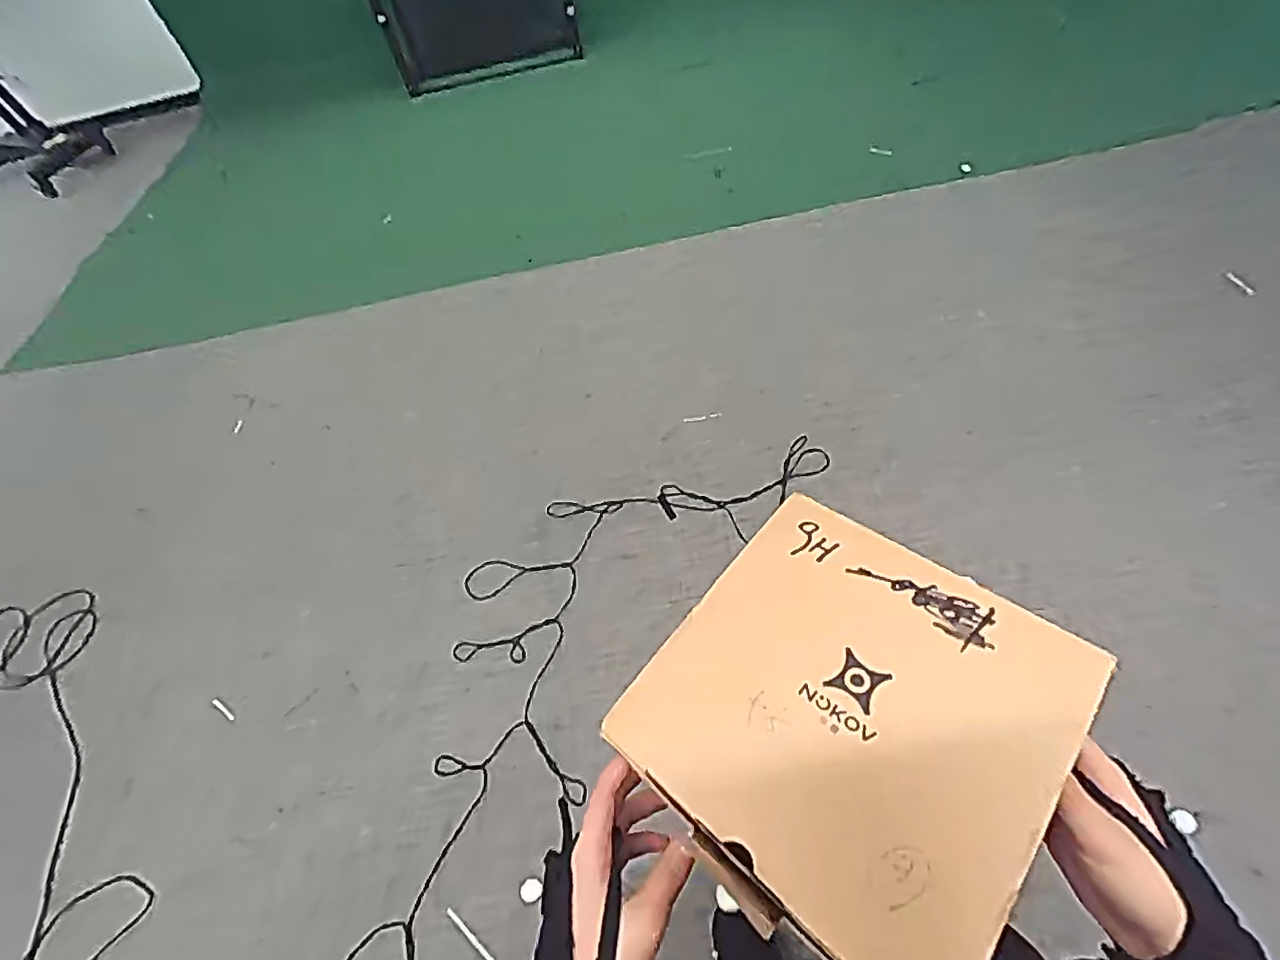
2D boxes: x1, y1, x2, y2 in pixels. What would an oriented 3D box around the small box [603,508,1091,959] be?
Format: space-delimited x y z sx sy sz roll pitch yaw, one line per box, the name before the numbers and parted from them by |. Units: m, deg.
small box | 0.109 0.157 0.322 0.168 0.176 0.179 31 65 31
